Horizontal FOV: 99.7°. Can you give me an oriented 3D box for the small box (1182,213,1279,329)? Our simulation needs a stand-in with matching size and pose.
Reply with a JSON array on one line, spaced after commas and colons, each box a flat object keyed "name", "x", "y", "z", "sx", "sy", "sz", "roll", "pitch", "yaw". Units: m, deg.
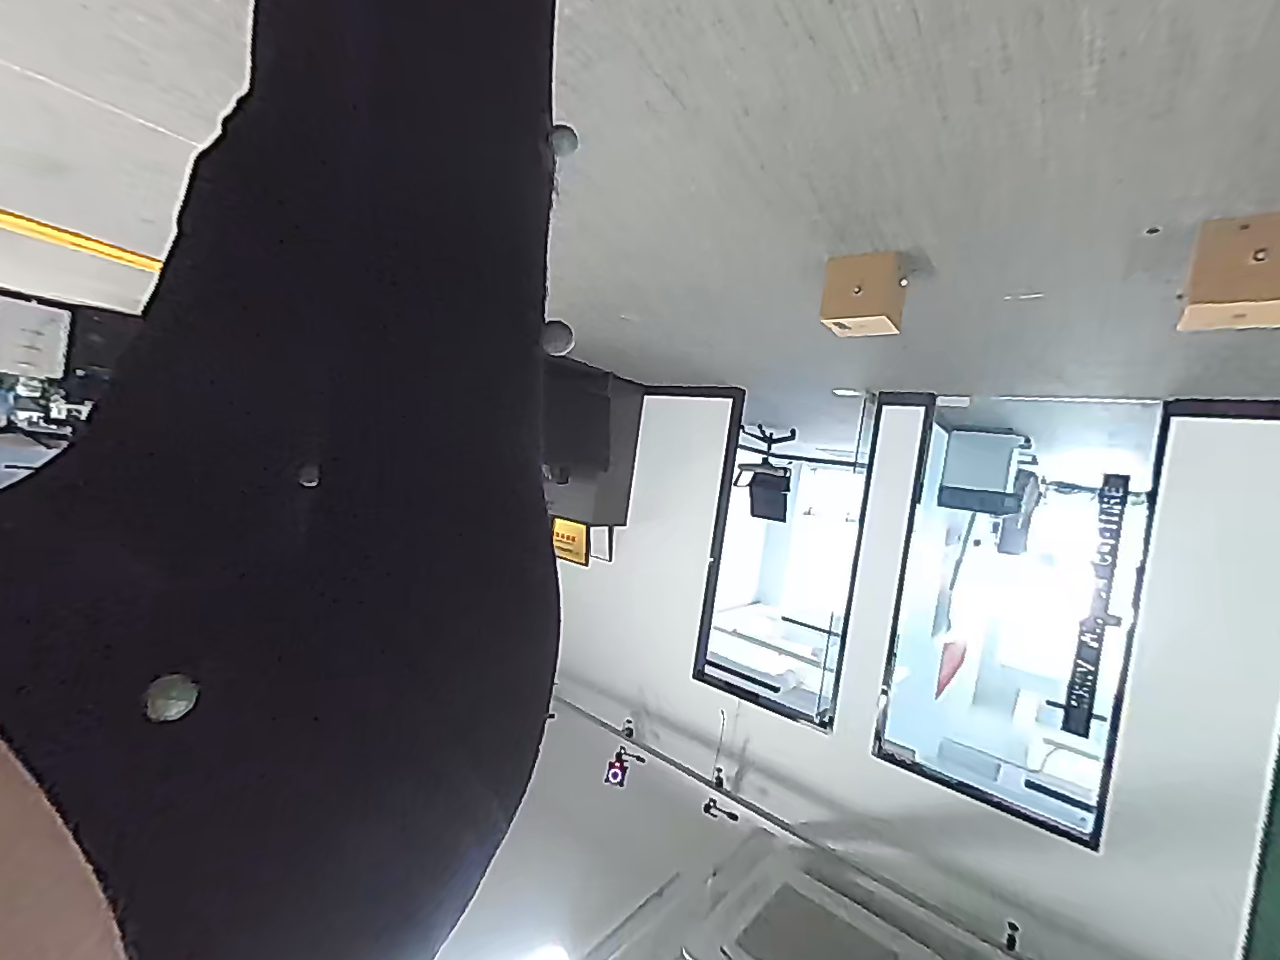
[{"name": "small box", "x": 1.200, "y": -0.407, "z": 1.056, "sx": 0.168, "sy": 0.176, "sz": 0.179, "roll": 10, "pitch": -177, "yaw": 39}]

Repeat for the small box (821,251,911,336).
[{"name": "small box", "x": 0.617, "y": -0.501, "z": 1.468, "sx": 0.179, "sy": 0.176, "sz": 0.168, "roll": 9, "pitch": -178, "yaw": 39}]
